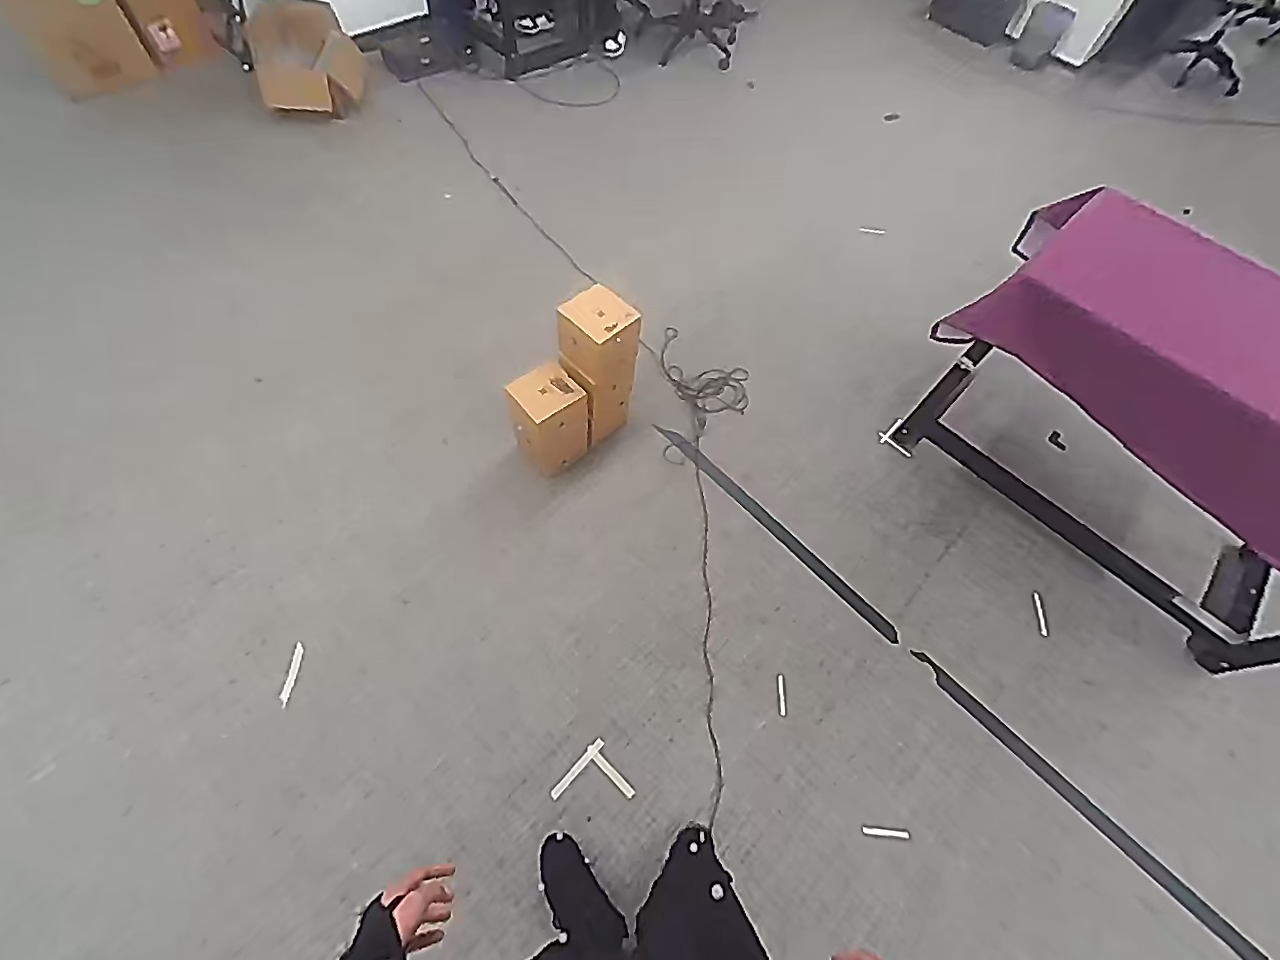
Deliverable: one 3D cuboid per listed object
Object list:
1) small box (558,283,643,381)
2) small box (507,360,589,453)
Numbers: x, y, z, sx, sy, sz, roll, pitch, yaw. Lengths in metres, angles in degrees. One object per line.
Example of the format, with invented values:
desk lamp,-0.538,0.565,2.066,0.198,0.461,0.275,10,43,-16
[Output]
small box,-0.113,-0.418,1.540,0.179,0.176,0.168,42,67,18
small box,-0.267,-0.214,1.602,0.179,0.176,0.168,-35,69,-19
